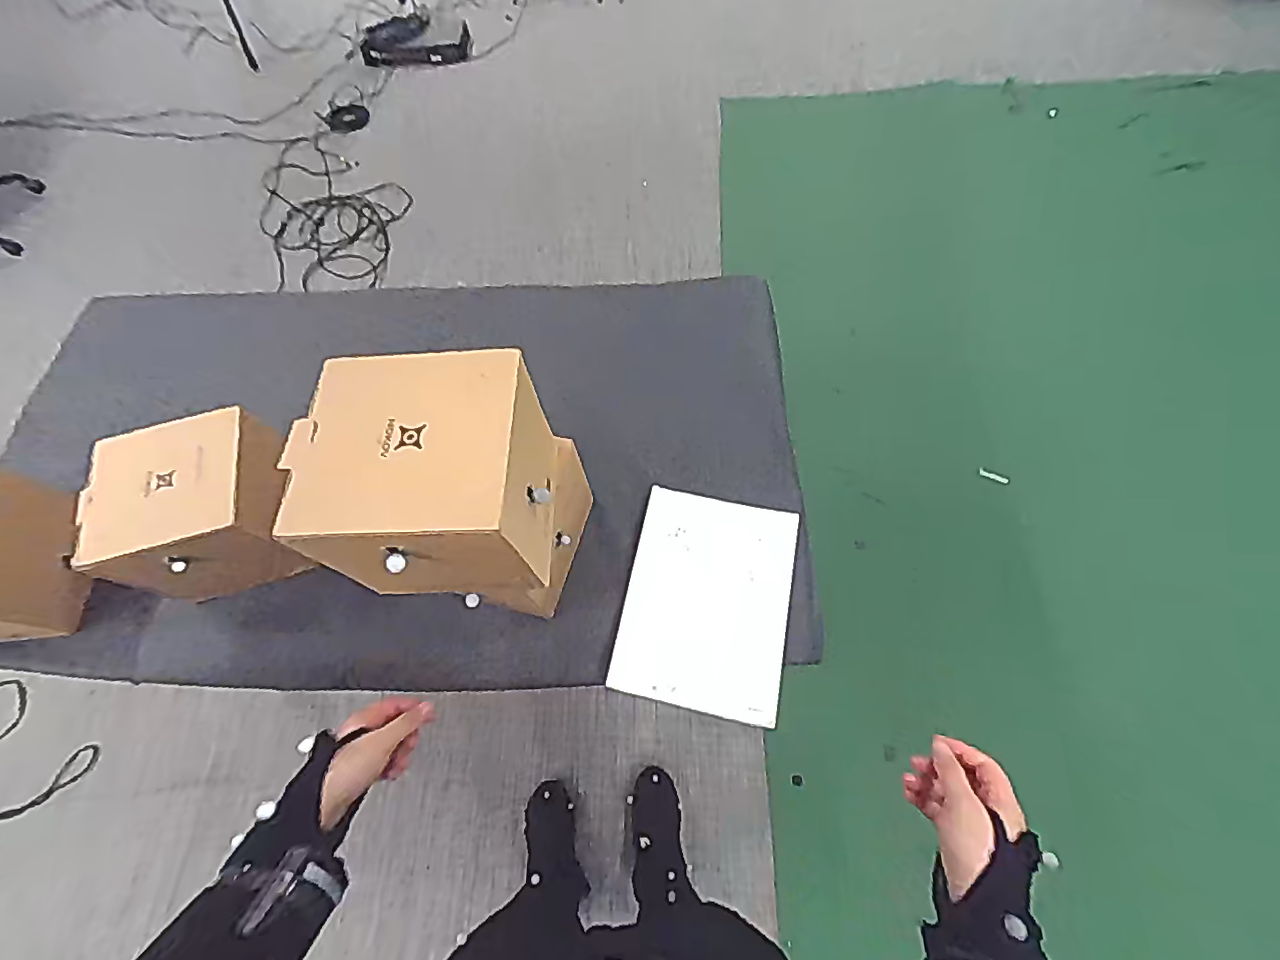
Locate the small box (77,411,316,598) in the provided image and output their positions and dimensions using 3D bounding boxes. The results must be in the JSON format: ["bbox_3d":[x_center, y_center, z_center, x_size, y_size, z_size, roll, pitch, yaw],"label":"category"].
[{"bbox_3d":[-0.547,0.041,0.700,0.179,0.176,0.168,-15,65,-4],"label":"small box"}]

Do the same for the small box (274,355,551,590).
[{"bbox_3d":[-0.186,0.003,0.509,0.179,0.176,0.168,-3,64,4],"label":"small box"}]

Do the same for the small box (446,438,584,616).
[{"bbox_3d":[-0.176,0.050,0.666,0.168,0.176,0.179,12,67,11],"label":"small box"}]

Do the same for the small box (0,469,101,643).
[{"bbox_3d":[-0.844,0.105,0.690,0.168,0.176,0.179,-6,65,1],"label":"small box"}]
